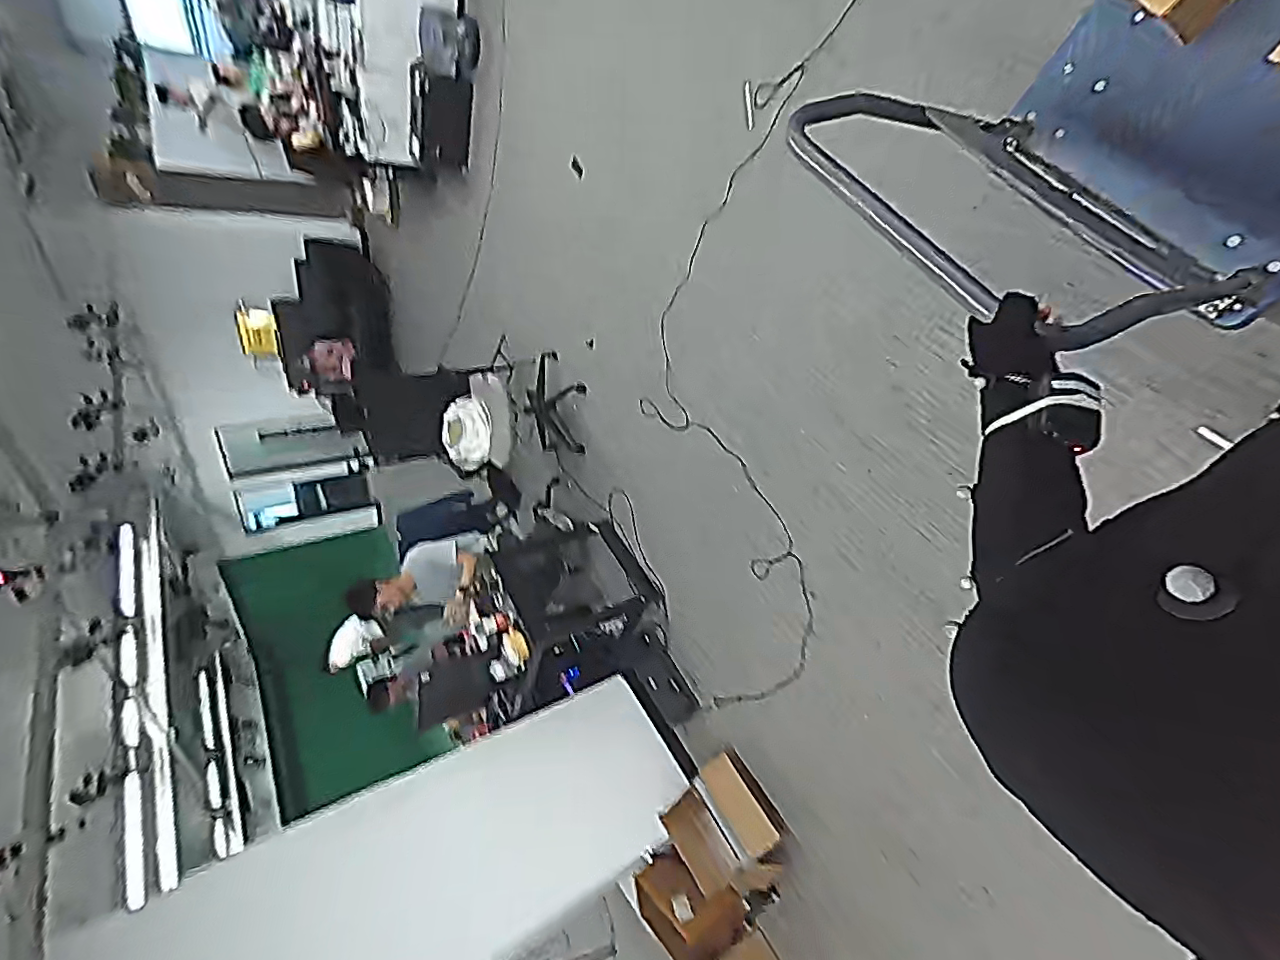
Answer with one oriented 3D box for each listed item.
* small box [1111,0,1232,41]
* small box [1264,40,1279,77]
[{"bbox_3d":[0.811,-0.798,0.800,0.179,0.176,0.168,60,142,20],"label":"small box"},{"bbox_3d":[0.959,-0.564,0.668,0.179,0.176,0.168,55,141,28],"label":"small box"}]
